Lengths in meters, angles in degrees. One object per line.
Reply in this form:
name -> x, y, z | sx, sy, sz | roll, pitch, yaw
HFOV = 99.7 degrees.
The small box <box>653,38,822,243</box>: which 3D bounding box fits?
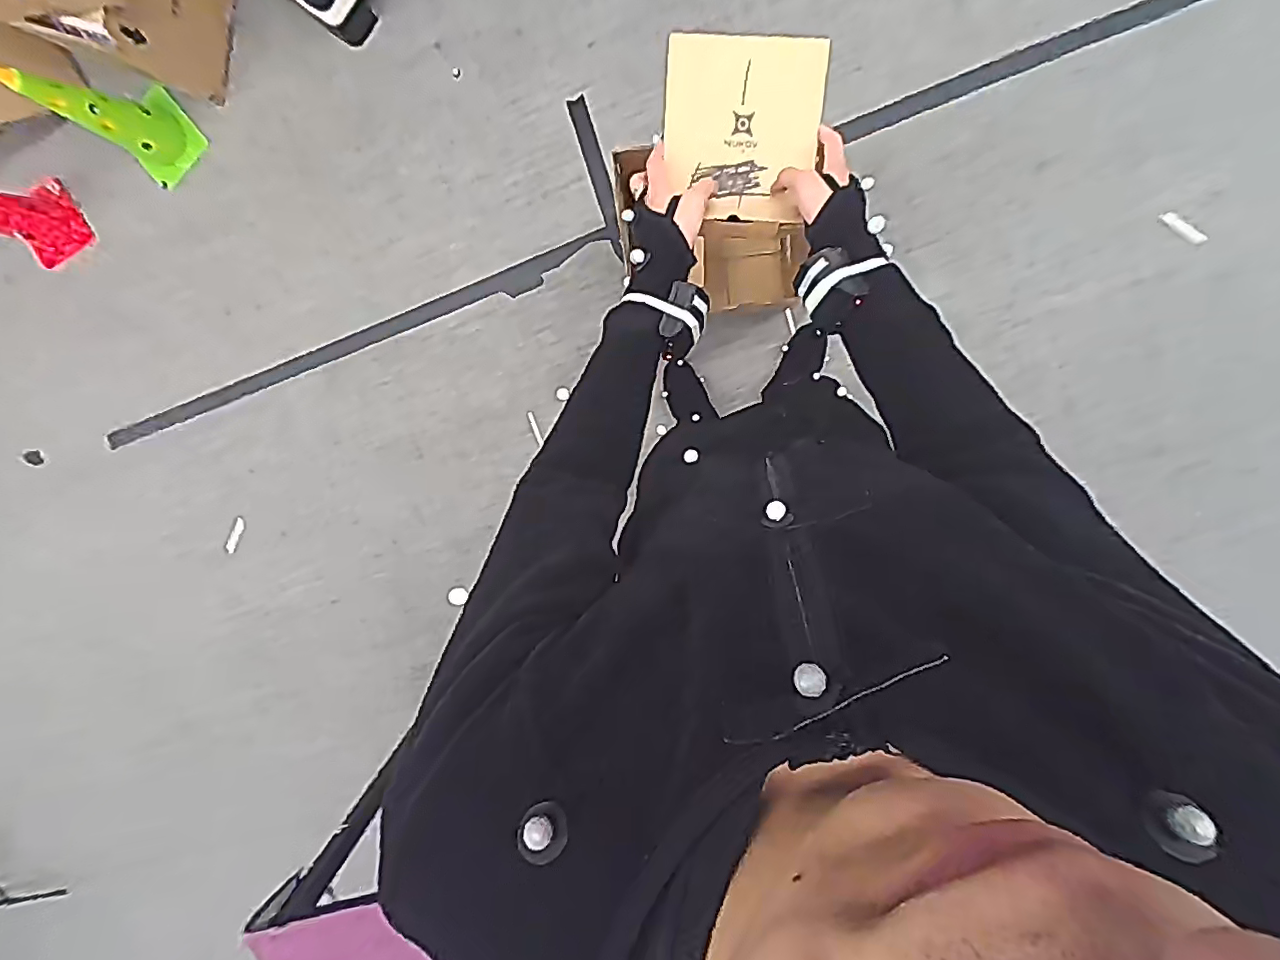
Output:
small box -> 0.104, -0.389, 0.652 | 0.168, 0.176, 0.179 | 3, 108, 1
